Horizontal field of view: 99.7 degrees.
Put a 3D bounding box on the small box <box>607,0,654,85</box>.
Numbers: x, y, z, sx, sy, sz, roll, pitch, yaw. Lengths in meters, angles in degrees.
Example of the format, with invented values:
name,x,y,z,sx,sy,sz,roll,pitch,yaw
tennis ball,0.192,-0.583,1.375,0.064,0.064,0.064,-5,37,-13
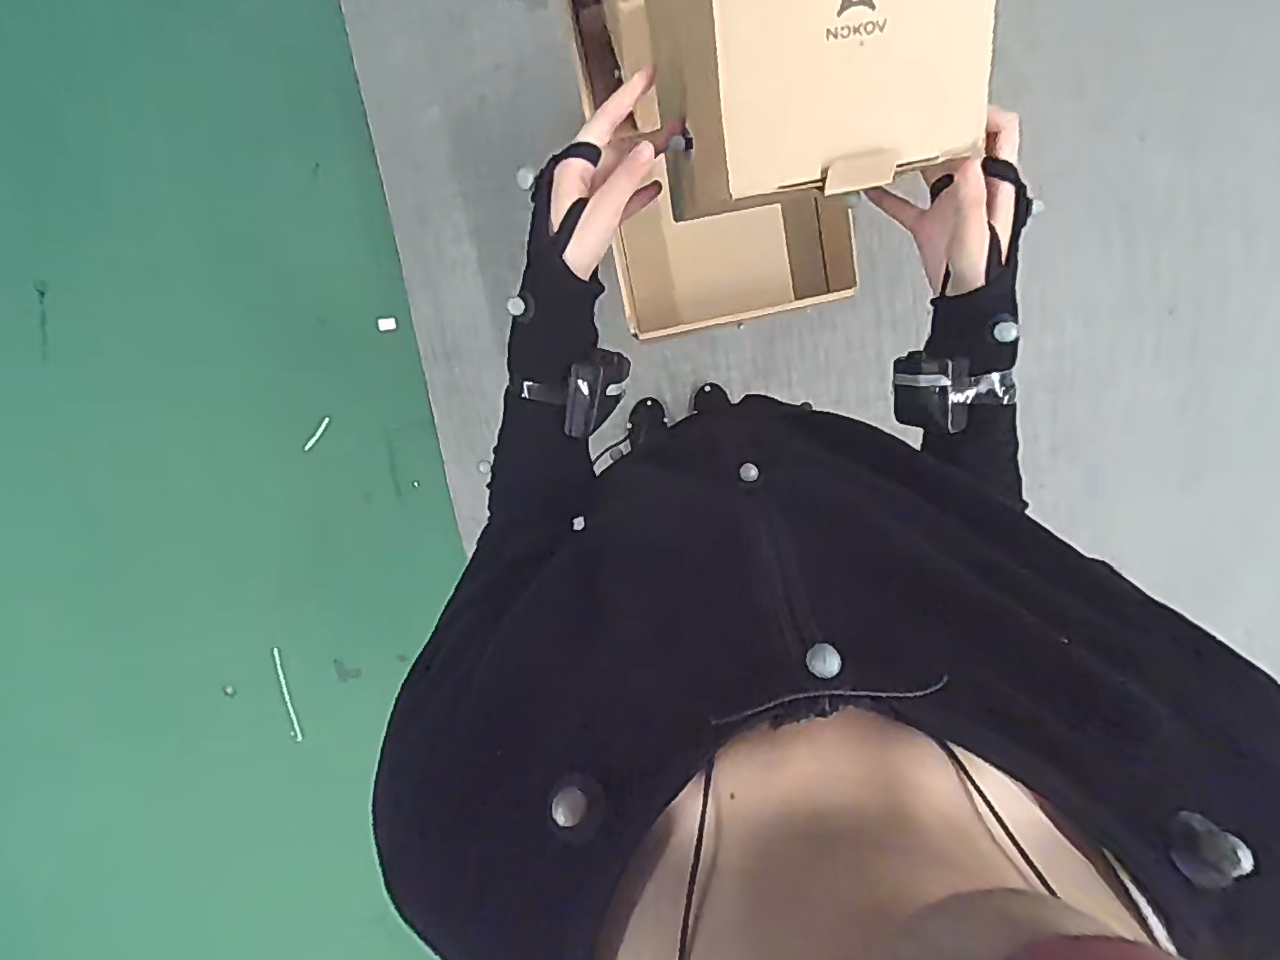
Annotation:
name,x,y,z,sx,sy,sz,roll,pitch,yaw
small box,0.042,-0.694,0.742,0.179,0.176,0.168,-15,98,6

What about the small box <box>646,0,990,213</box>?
name,x,y,z,sx,sy,sz,roll,pitch,yaw
small box,0.105,-0.292,0.372,0.168,0.176,0.179,-12,112,-5
